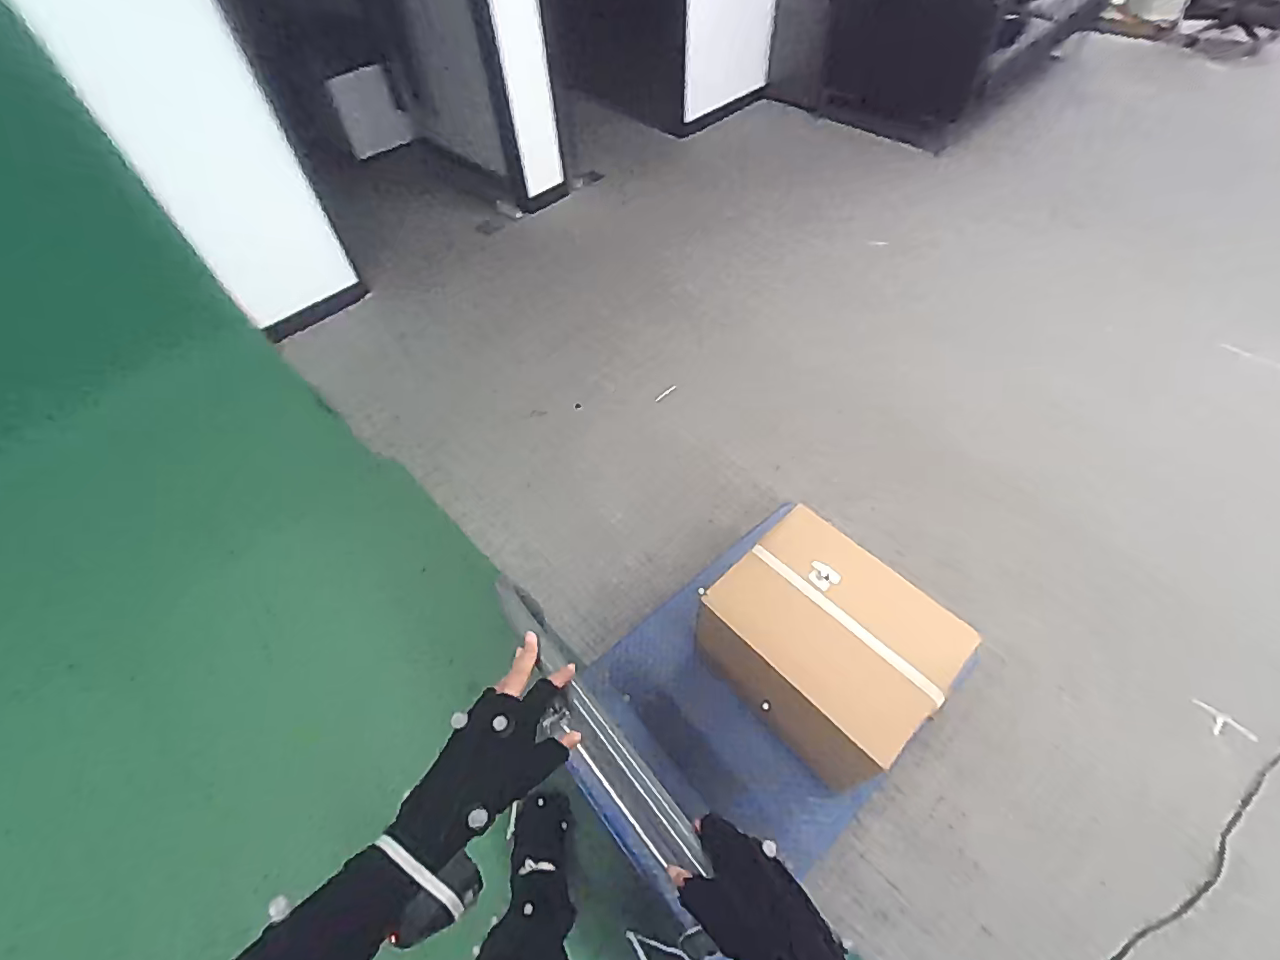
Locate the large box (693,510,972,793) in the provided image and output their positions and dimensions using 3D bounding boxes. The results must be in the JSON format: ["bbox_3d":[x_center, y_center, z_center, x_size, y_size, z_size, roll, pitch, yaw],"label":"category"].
[{"bbox_3d":[0.356,0.347,1.109,0.320,0.320,0.408,-37,59,-22],"label":"large box"}]
